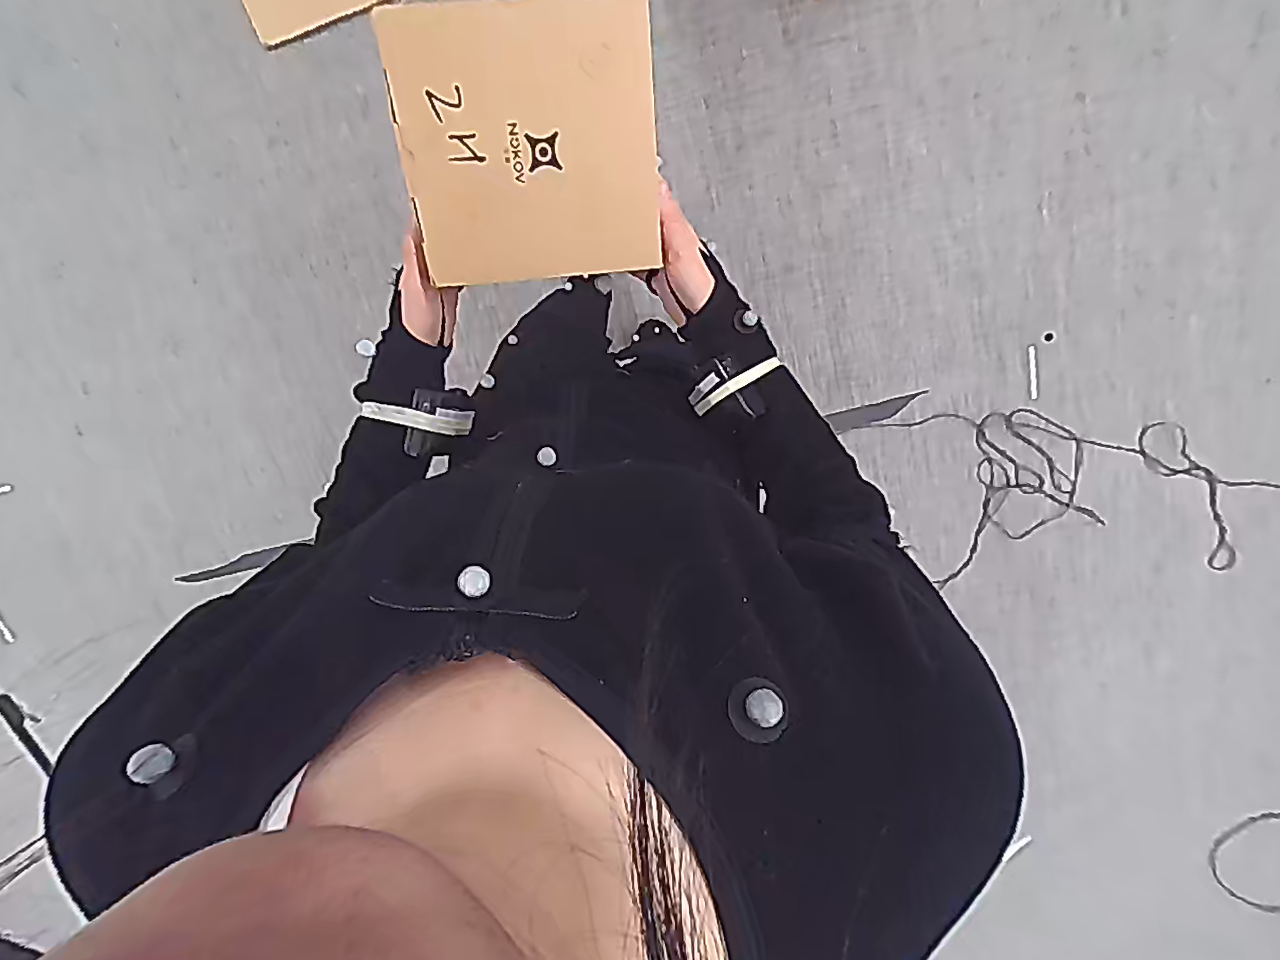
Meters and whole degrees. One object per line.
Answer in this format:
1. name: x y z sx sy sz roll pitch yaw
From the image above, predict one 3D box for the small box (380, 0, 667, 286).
1. small box: -0.079 -0.258 0.441 0.179 0.176 0.168 -6 115 -4
